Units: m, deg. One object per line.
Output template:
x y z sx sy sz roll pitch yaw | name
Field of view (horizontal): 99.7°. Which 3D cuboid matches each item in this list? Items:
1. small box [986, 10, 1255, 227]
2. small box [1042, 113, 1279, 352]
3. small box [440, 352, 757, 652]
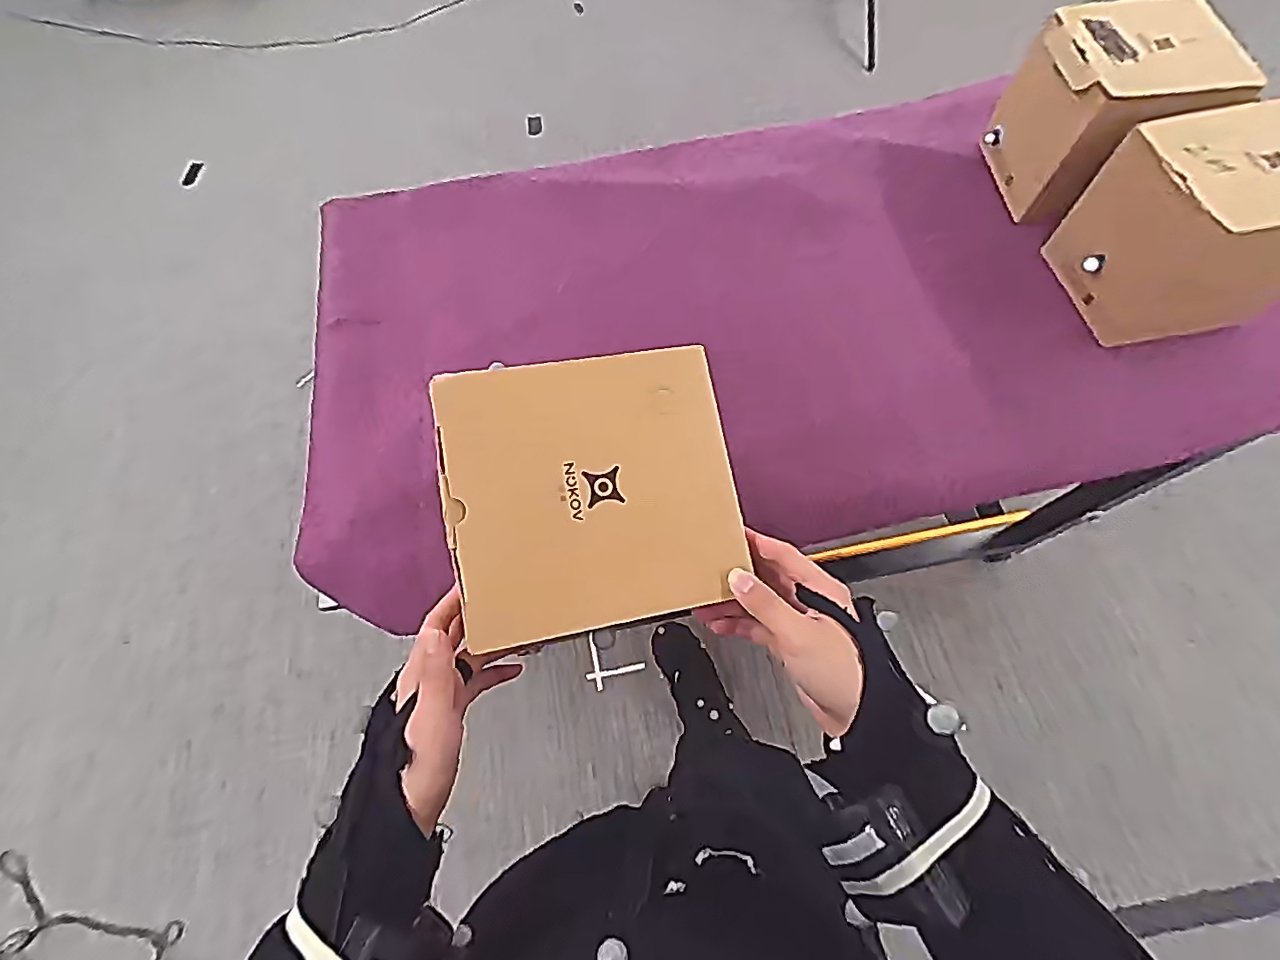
0.581 -0.449 0.692 0.179 0.176 0.168 -5 68 1 | small box
0.618 -0.269 0.611 0.179 0.176 0.168 -10 64 0 | small box
-0.038 0.020 0.409 0.179 0.176 0.168 -10 81 -11 | small box
